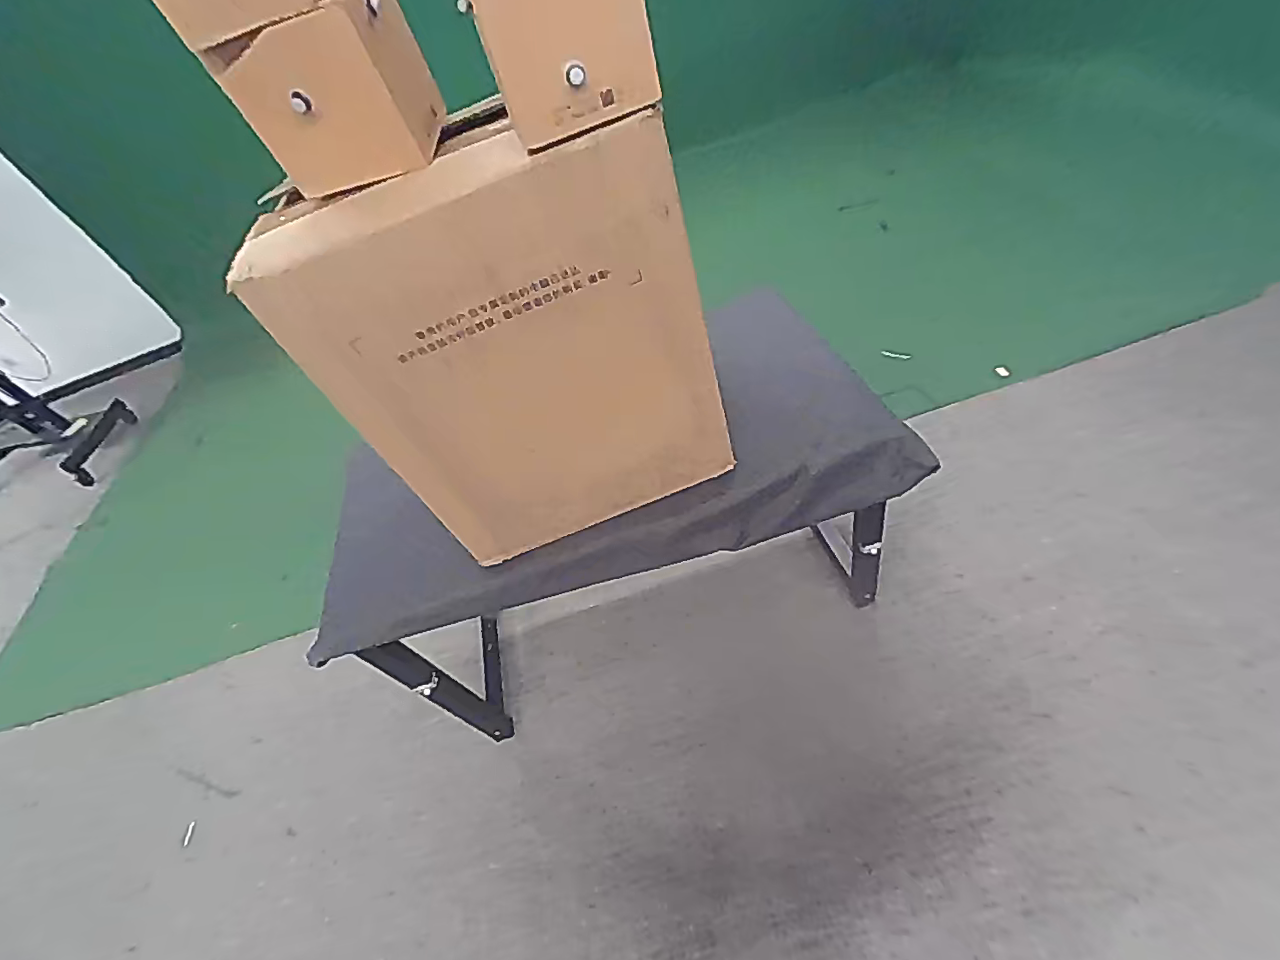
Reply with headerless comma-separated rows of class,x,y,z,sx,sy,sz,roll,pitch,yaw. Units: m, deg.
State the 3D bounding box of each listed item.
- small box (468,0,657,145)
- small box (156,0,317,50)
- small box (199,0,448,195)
small box,-0.094,-0.504,0.603,0.168,0.176,0.179,-21,48,0
small box,-0.419,-0.566,0.532,0.179,0.176,0.168,-25,56,-3
small box,-0.367,-0.483,0.663,0.179,0.176,0.168,-11,56,9
